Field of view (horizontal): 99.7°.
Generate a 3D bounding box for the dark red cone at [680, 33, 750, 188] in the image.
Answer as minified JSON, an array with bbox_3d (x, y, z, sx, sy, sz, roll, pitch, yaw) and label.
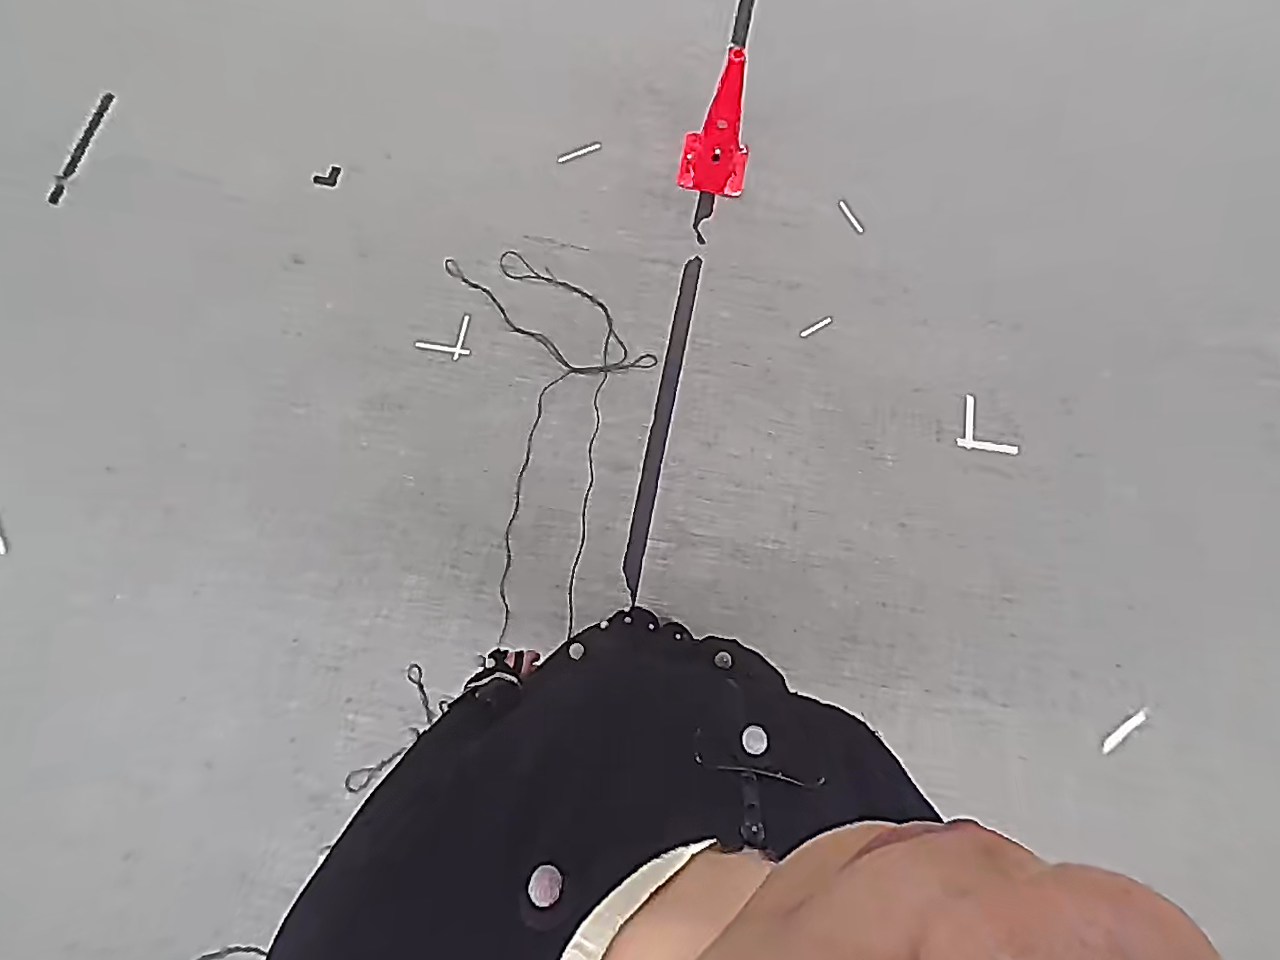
[{"bbox_3d":[0.232,-1.017,1.481,0.201,0.394,0.202,10,78,1],"label":"dark red cone"}]
